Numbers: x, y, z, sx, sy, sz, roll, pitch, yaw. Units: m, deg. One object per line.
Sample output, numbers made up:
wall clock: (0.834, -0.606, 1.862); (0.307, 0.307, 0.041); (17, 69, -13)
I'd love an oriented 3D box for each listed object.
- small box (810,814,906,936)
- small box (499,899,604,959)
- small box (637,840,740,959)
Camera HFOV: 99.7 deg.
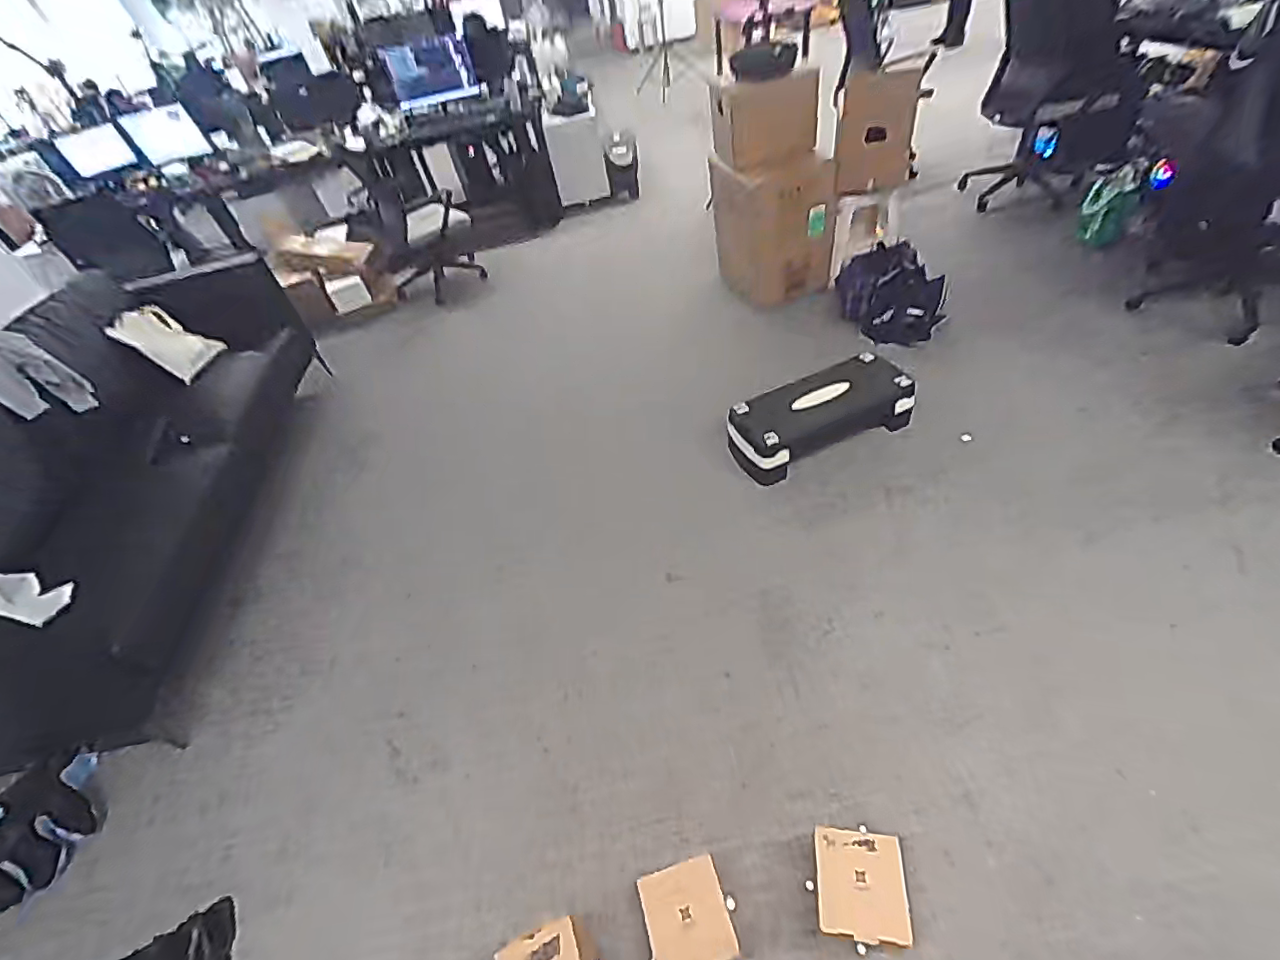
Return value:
small box: (0.446, 0.828, 1.132); (0.168, 0.176, 0.179); (0, 48, 14)
small box: (-0.171, 1.009, 1.113); (0.168, 0.176, 0.179); (-23, 47, -8)
small box: (0.105, 0.905, 1.148); (0.168, 0.176, 0.179); (-18, 45, -5)
